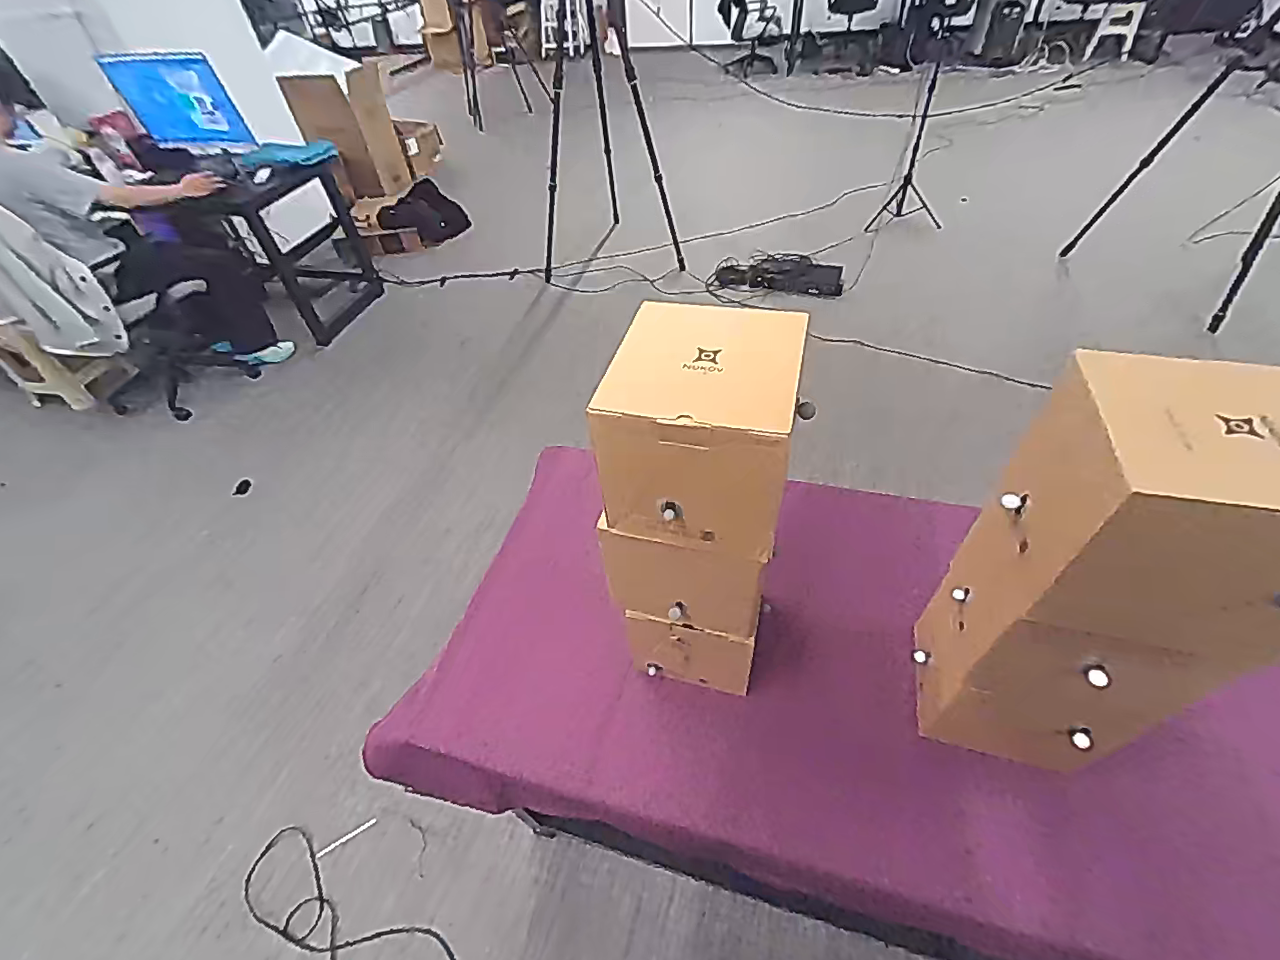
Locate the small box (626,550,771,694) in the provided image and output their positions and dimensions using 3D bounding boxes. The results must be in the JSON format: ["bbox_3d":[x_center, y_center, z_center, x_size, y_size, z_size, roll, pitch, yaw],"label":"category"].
[{"bbox_3d":[0.090,0.179,0.774,0.168,0.176,0.179,9,48,14],"label":"small box"}]

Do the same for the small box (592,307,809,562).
[{"bbox_3d":[0.065,-0.047,0.538,0.168,0.176,0.179,9,49,14],"label":"small box"}]

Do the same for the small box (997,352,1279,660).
[{"bbox_3d":[0.424,0.022,0.433,0.179,0.176,0.168,9,48,15],"label":"small box"}]

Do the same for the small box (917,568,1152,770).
[{"bbox_3d":[0.466,0.238,0.676,0.179,0.176,0.168,10,48,15],"label":"small box"}]

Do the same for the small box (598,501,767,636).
[{"bbox_3d":[0.066,0.067,0.656,0.179,0.176,0.168,11,49,14],"label":"small box"}]
